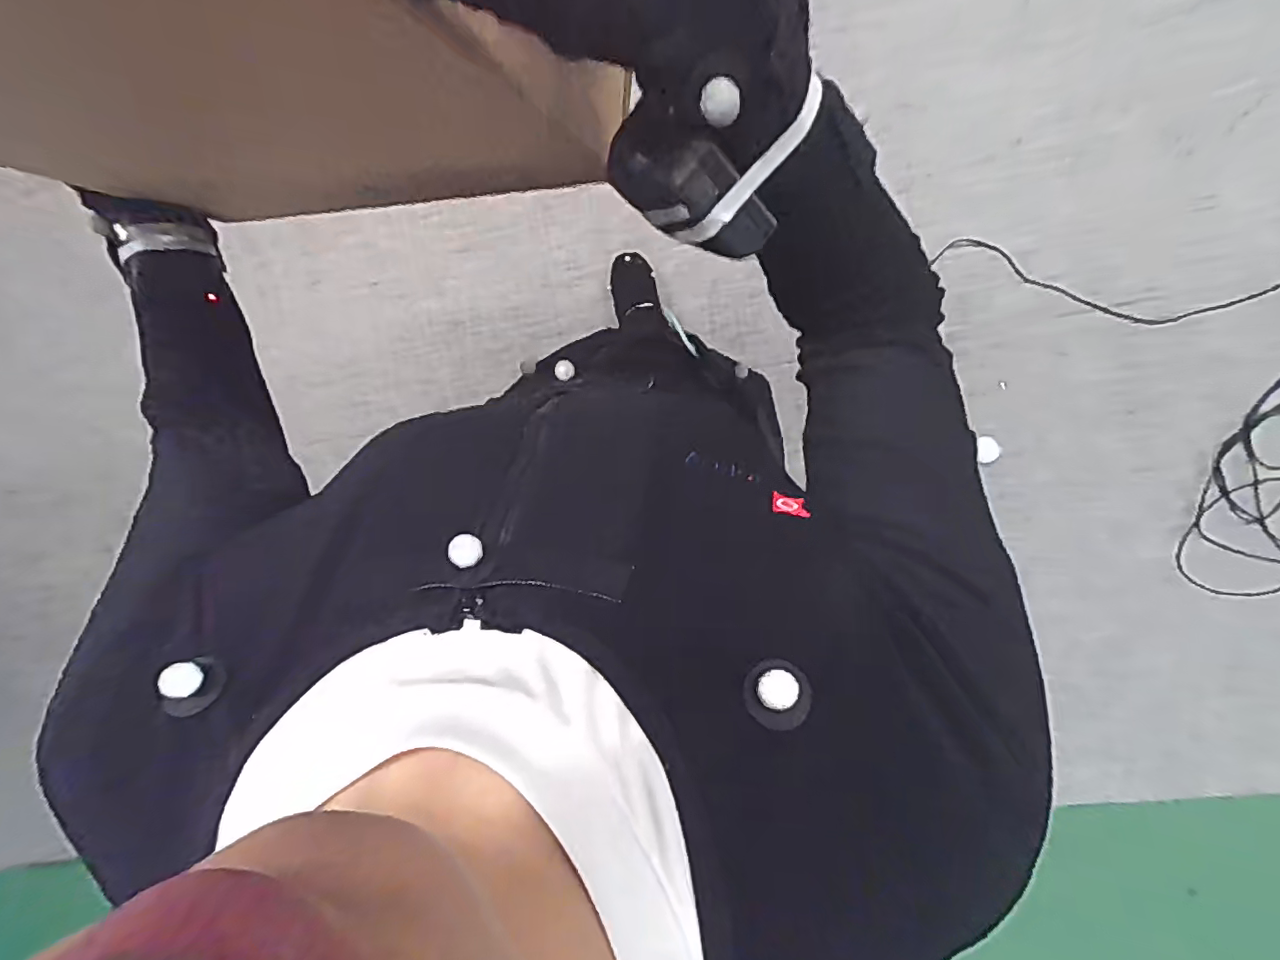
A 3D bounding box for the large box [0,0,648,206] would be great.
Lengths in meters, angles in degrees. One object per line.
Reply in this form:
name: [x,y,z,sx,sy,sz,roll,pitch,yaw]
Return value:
large box: [-0.232,-0.341,0.227,0.408,0.320,0.320,10,101,26]
